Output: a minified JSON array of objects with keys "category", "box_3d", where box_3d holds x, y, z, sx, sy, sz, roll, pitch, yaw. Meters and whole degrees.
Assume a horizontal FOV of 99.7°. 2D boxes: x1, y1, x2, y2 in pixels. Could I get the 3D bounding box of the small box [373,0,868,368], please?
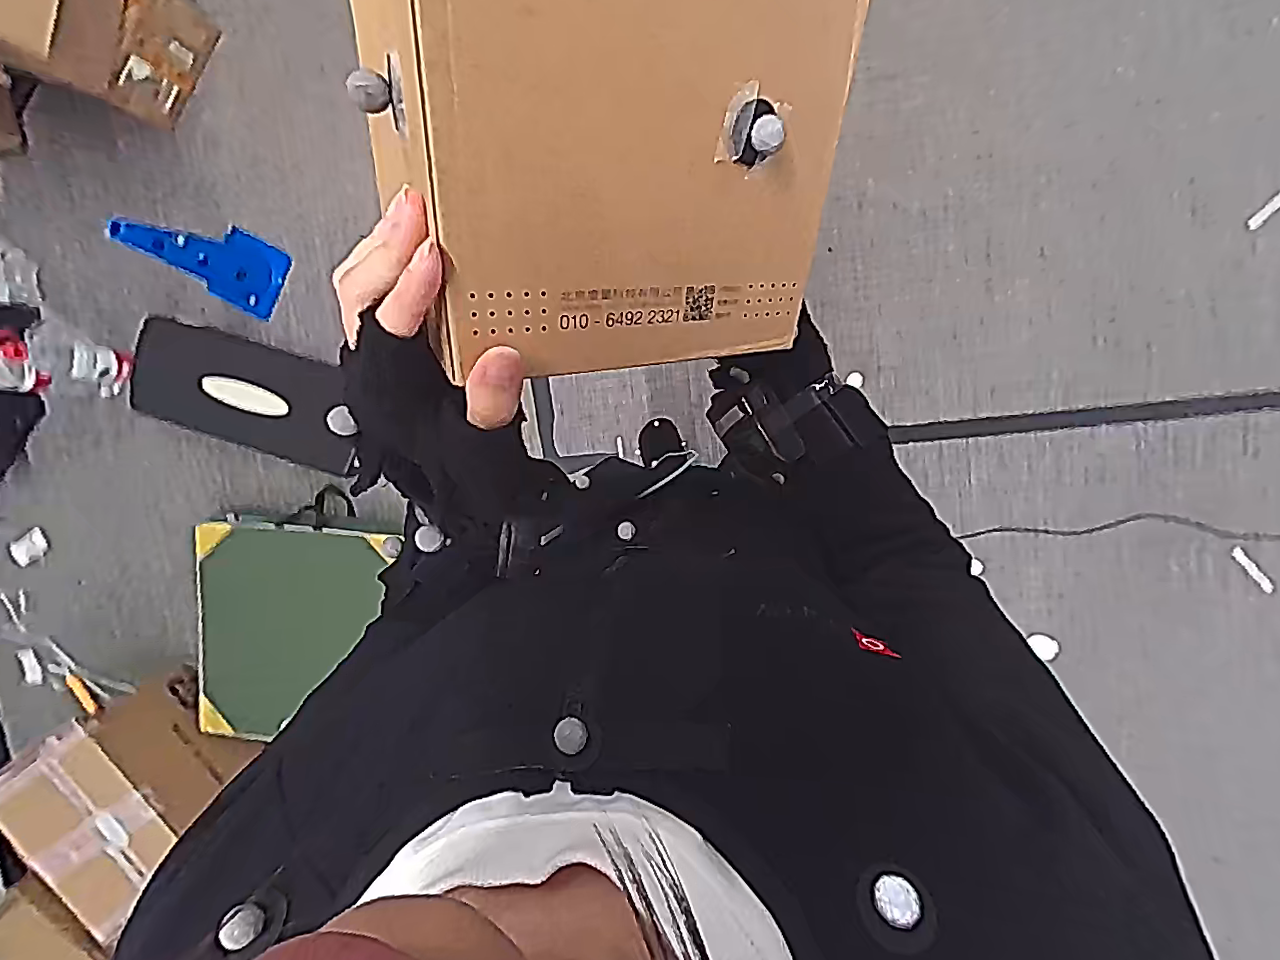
[{"category":"small box","box_3d":[-0.022,-0.158,0.259,0.168,0.179,0.176,-11,126,-25]}]
